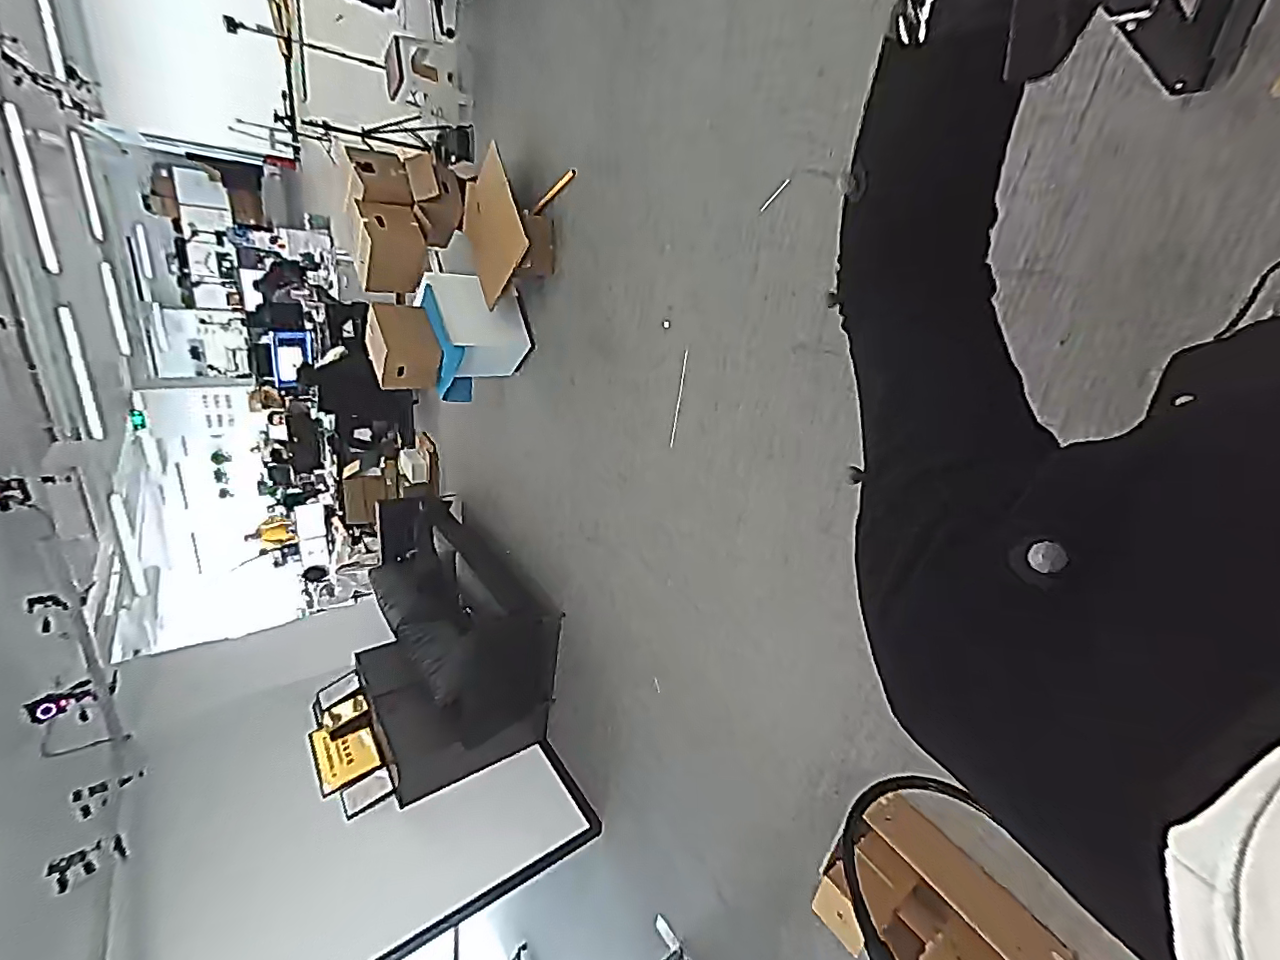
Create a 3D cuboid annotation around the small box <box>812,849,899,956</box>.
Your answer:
[{"bbox_3d":[0.687,1.333,1.719,0.179,0.176,0.168,35,123,44],"label":"small box"}]
